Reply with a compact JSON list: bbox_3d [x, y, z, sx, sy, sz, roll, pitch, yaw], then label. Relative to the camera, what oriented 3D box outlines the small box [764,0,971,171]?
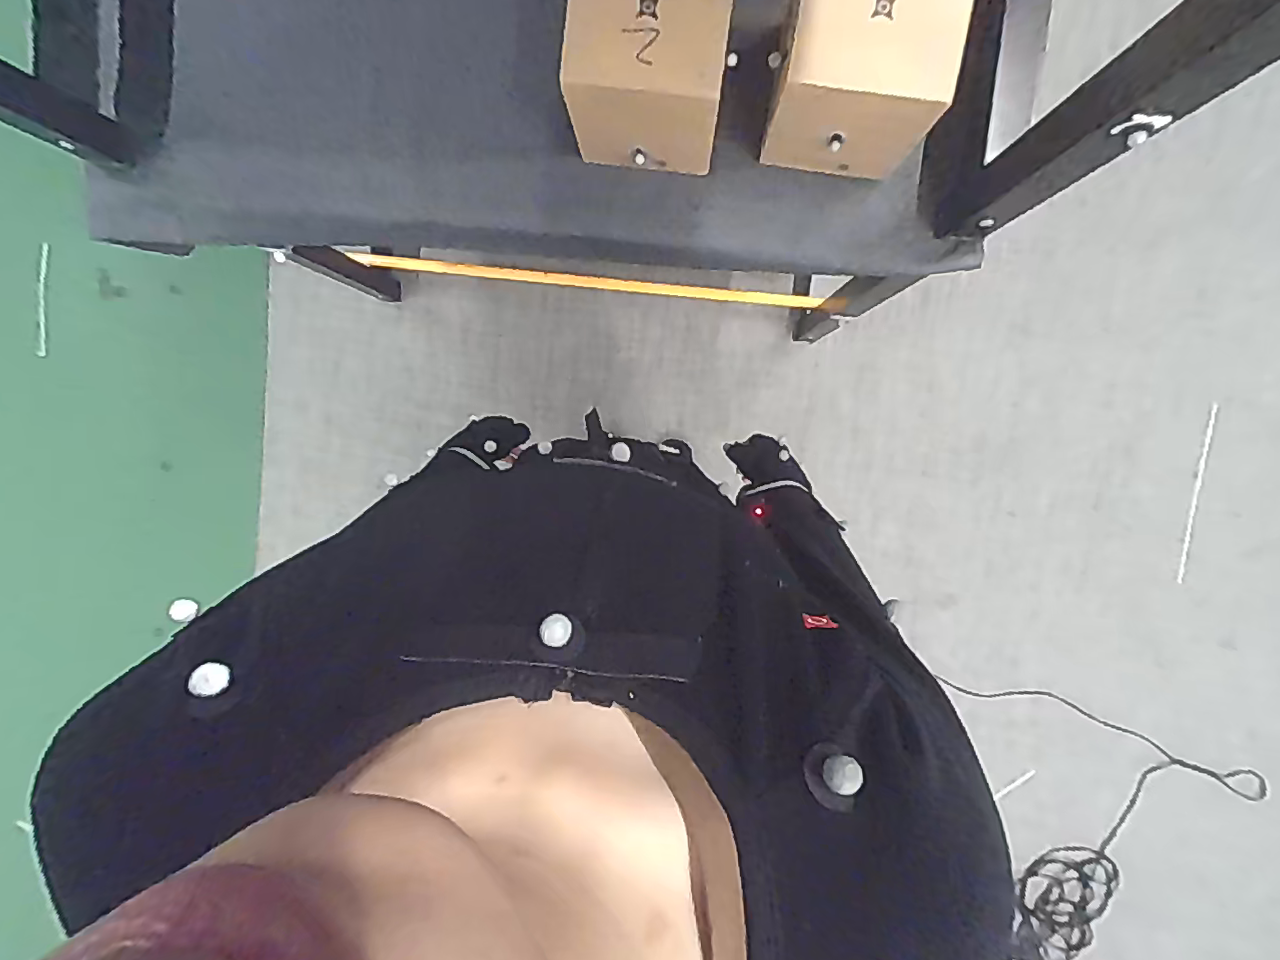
[{"bbox_3d":[0.244,-0.478,0.606,0.168,0.176,0.179,10,96,2],"label":"small box"}]
